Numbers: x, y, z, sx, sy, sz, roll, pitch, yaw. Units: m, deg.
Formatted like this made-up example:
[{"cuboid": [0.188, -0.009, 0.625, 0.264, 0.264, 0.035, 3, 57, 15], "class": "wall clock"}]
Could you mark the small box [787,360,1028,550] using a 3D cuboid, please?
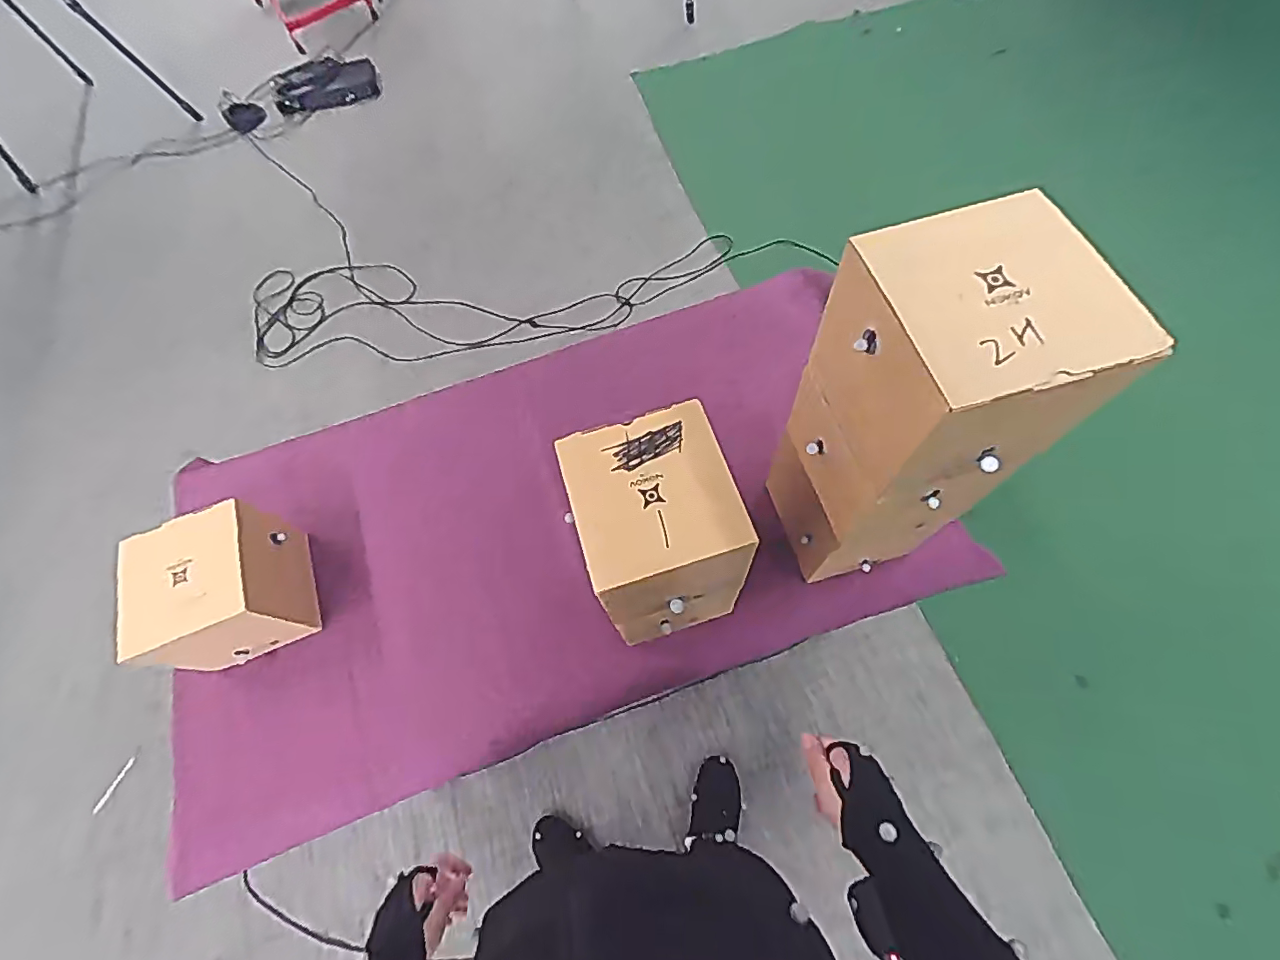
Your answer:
[{"cuboid": [0.285, -0.041, 0.628, 0.168, 0.176, 0.179, -16, 65, -1], "class": "small box"}]

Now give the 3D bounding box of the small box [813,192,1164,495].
[{"cuboid": [0.272, -0.110, 0.479, 0.168, 0.176, 0.179, -15, 66, -1], "class": "small box"}]

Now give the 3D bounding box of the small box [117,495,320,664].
[{"cuboid": [-0.607, 0.153, 0.795, 0.168, 0.176, 0.179, -22, 67, -5], "class": "small box"}]

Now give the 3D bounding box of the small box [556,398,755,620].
[{"cuboid": [0.015, 0.040, 0.617, 0.168, 0.176, 0.179, -17, 65, -3], "class": "small box"}]

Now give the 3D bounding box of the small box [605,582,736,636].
[{"cuboid": [0.027, 0.111, 0.765, 0.168, 0.176, 0.179, -18, 64, -3], "class": "small box"}]
